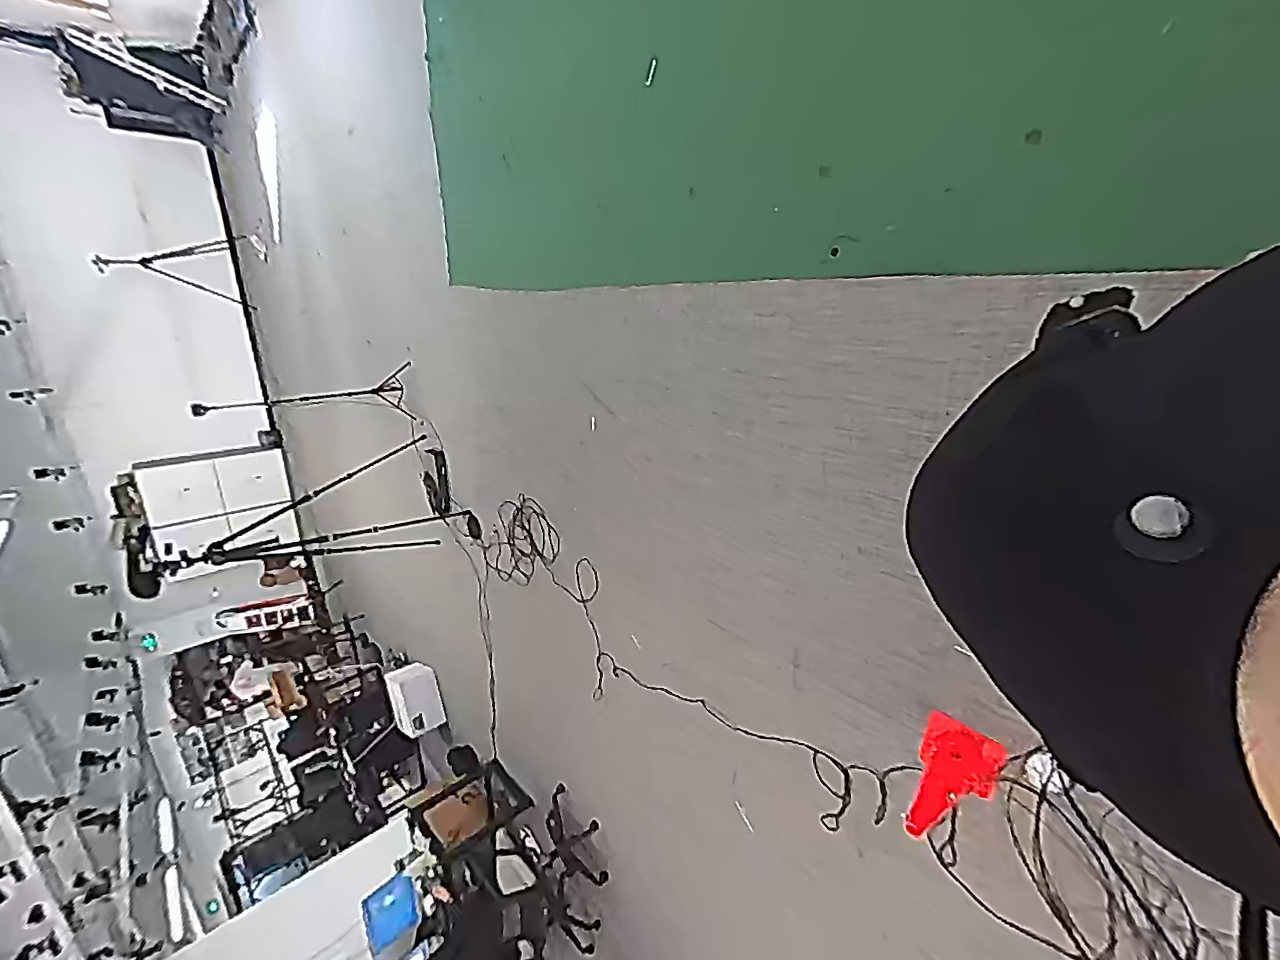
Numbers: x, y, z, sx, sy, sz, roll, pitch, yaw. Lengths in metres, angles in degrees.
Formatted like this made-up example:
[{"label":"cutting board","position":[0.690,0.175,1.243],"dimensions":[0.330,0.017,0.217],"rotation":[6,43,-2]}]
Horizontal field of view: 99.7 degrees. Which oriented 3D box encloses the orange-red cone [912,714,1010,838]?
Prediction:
[{"label":"orange-red cone","position":[0.822,0.837,1.462],"dimensions":[0.198,0.360,0.199],"rotation":[24,118,41]}]
